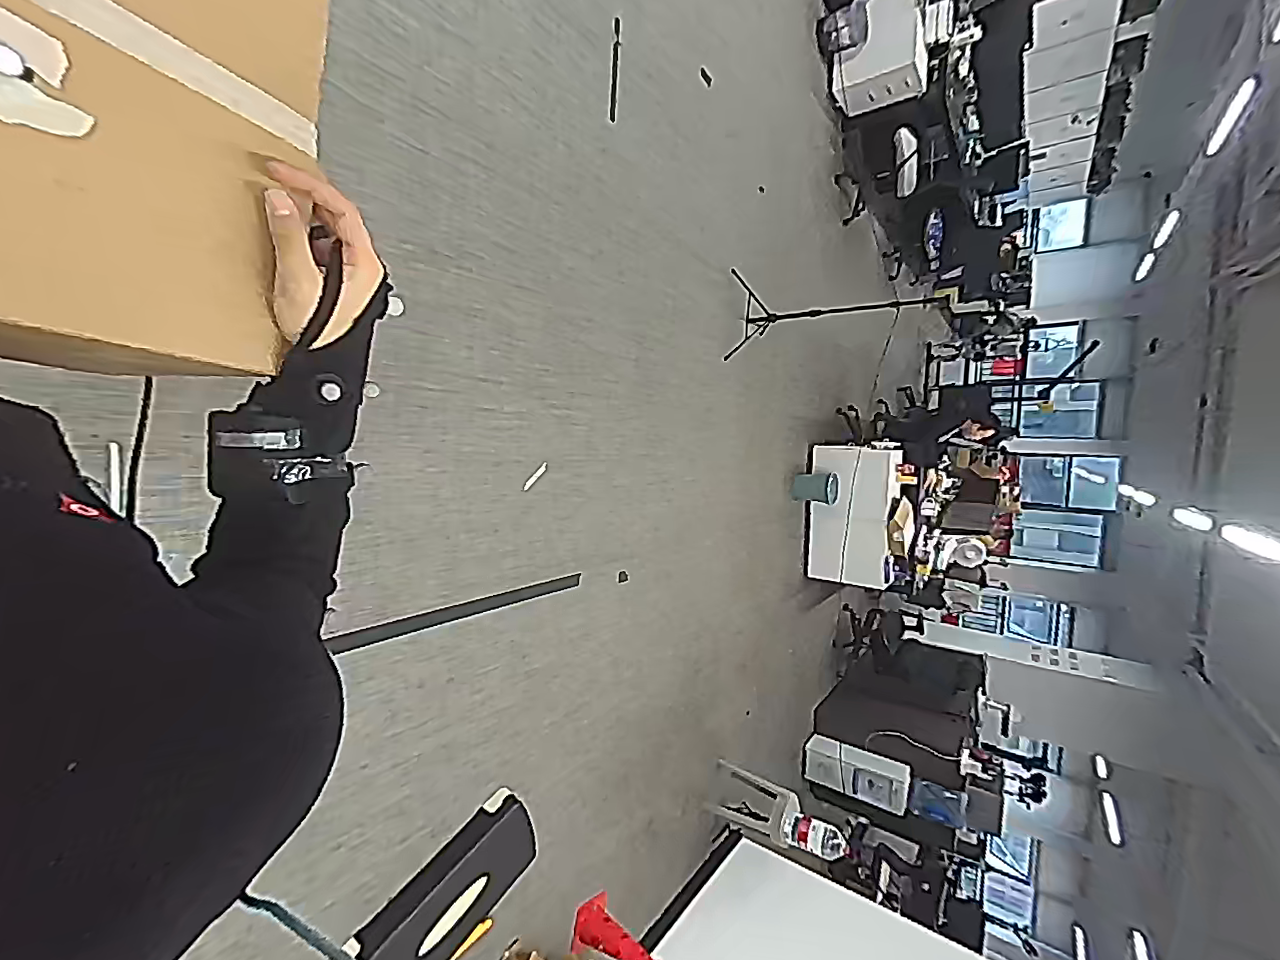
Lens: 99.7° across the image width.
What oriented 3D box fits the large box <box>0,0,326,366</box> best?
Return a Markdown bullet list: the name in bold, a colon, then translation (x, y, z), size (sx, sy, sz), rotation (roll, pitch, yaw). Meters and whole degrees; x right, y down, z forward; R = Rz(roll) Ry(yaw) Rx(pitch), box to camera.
- **large box**: translation (-0.452, -0.251, 0.269), size (0.408, 0.320, 0.320), rotation (6, 92, -61)
